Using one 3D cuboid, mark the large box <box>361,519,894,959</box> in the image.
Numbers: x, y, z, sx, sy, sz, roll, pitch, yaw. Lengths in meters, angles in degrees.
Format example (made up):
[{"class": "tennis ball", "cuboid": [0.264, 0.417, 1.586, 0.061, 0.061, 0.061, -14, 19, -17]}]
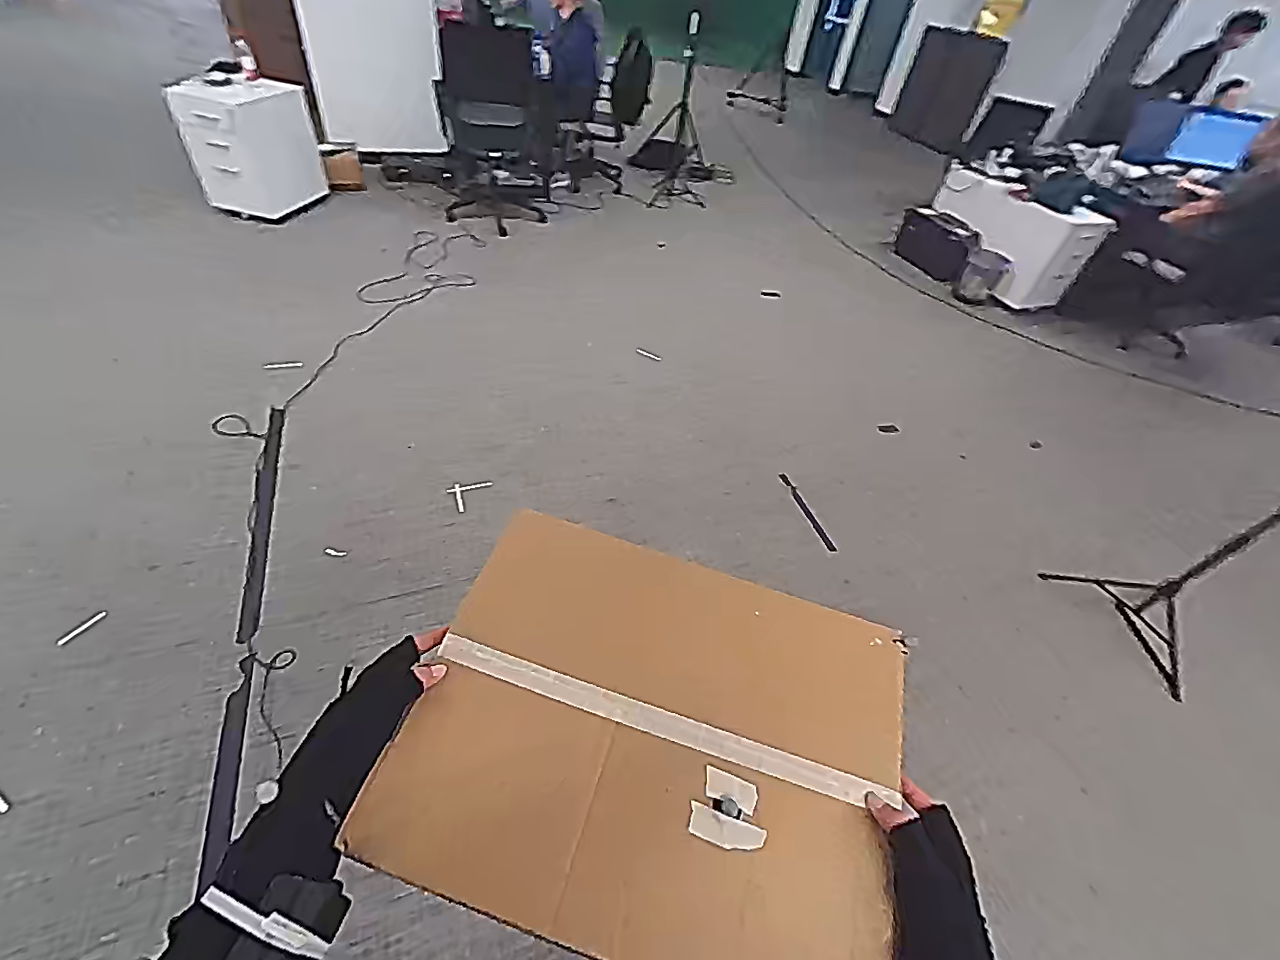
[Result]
[{"class": "large box", "cuboid": [0.004, 0.299, 0.588, 0.408, 0.320, 0.320, 18, 54, 5]}]
